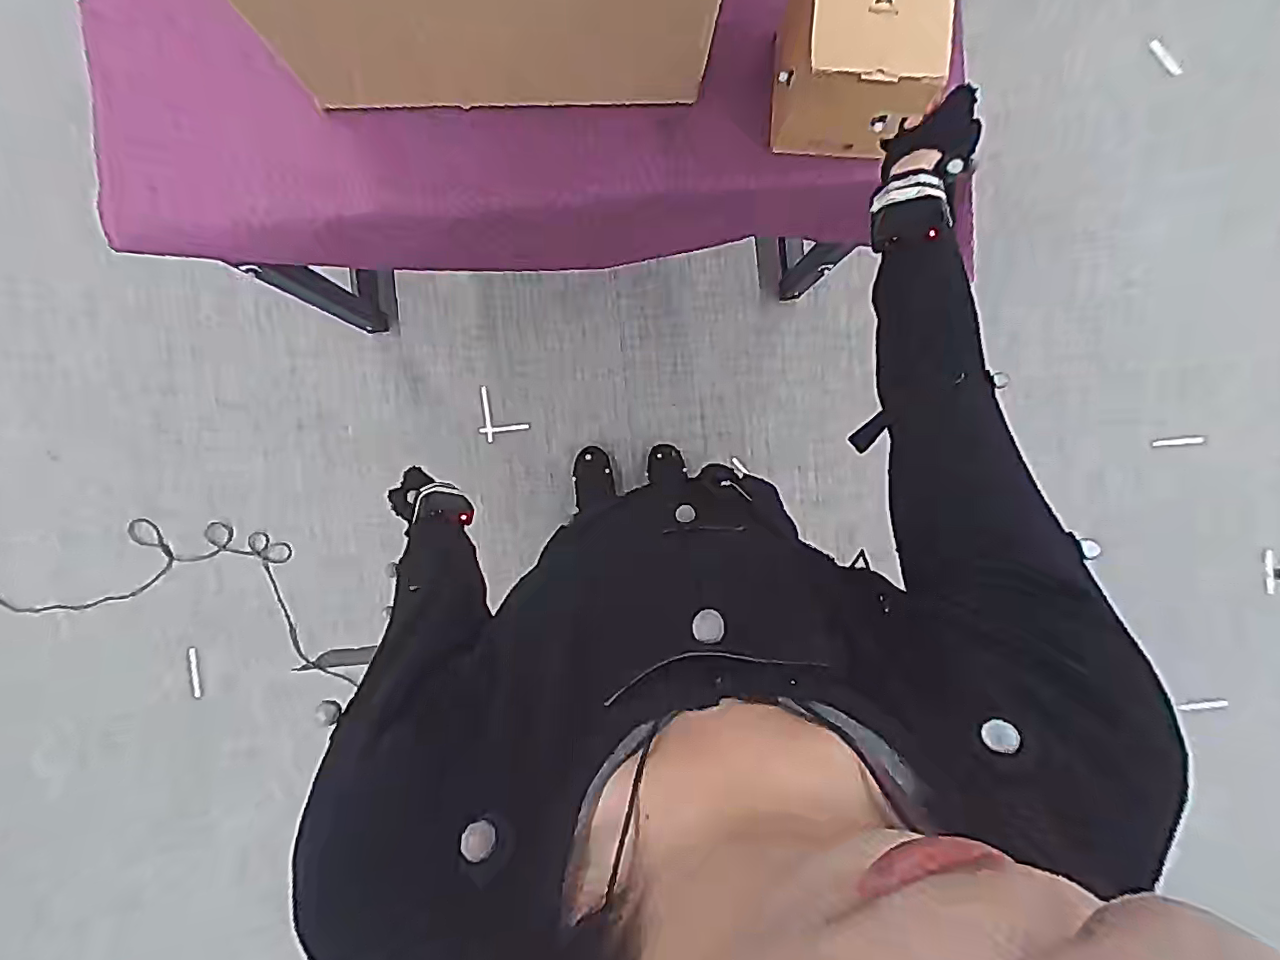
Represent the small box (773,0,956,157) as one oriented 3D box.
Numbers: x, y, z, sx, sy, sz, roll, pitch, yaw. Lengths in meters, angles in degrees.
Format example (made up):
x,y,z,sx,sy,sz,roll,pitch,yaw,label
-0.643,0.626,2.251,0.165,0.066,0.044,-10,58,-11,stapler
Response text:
x,y,z,sx,sy,sz,roll,pitch,yaw,label
0.278,-0.551,0.699,0.168,0.176,0.179,2,91,-3,small box
